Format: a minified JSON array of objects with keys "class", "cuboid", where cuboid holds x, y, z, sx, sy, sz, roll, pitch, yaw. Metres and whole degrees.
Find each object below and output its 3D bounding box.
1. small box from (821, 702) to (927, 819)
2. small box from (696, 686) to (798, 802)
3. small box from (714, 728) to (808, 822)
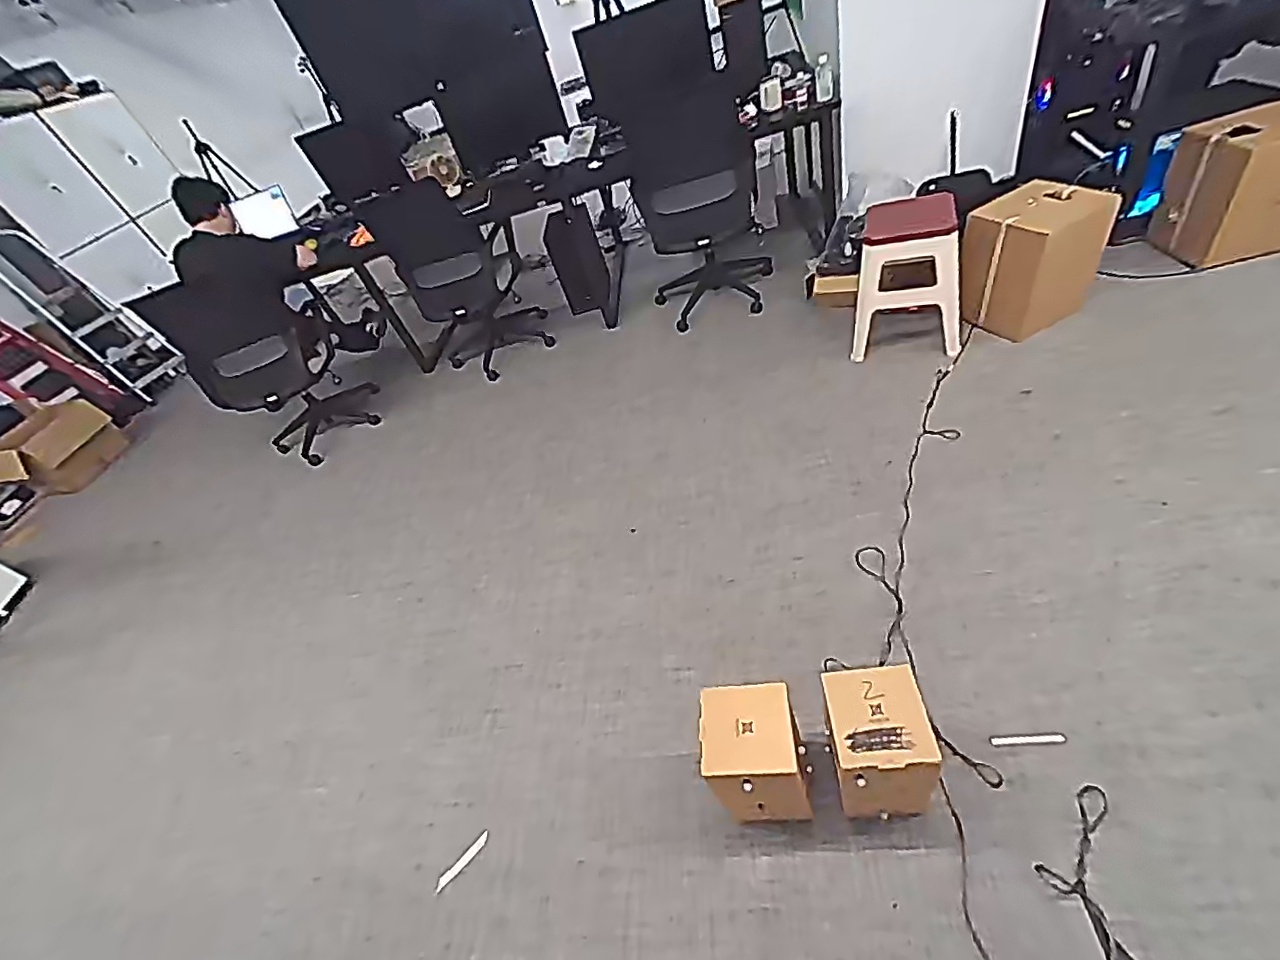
[{"class":"small box","cuboid":[0.484,0.595,1.142,0.168,0.176,0.179,-11,45,12]},{"class":"small box","cuboid":[0.216,0.530,1.080,0.179,0.176,0.168,-10,44,15]},{"class":"small box","cuboid":[0.261,0.640,1.190,0.179,0.176,0.168,-10,44,14]}]
